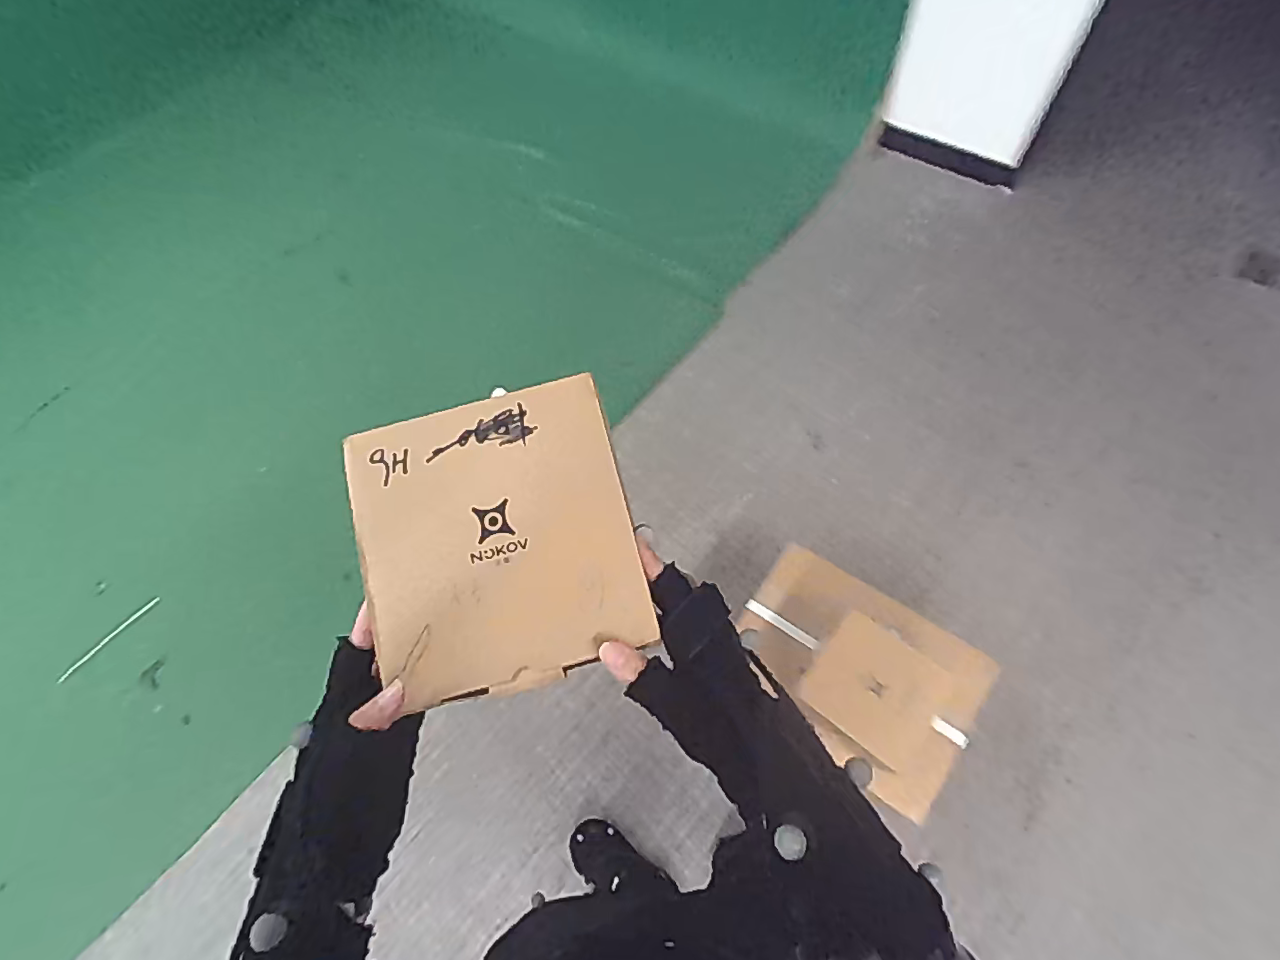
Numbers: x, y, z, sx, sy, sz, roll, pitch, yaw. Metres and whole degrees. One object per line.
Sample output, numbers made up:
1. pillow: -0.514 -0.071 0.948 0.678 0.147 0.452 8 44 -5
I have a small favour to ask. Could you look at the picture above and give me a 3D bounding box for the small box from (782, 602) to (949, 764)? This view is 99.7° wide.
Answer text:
1. small box: 0.351 0.330 0.882 0.179 0.176 0.168 36 76 20
